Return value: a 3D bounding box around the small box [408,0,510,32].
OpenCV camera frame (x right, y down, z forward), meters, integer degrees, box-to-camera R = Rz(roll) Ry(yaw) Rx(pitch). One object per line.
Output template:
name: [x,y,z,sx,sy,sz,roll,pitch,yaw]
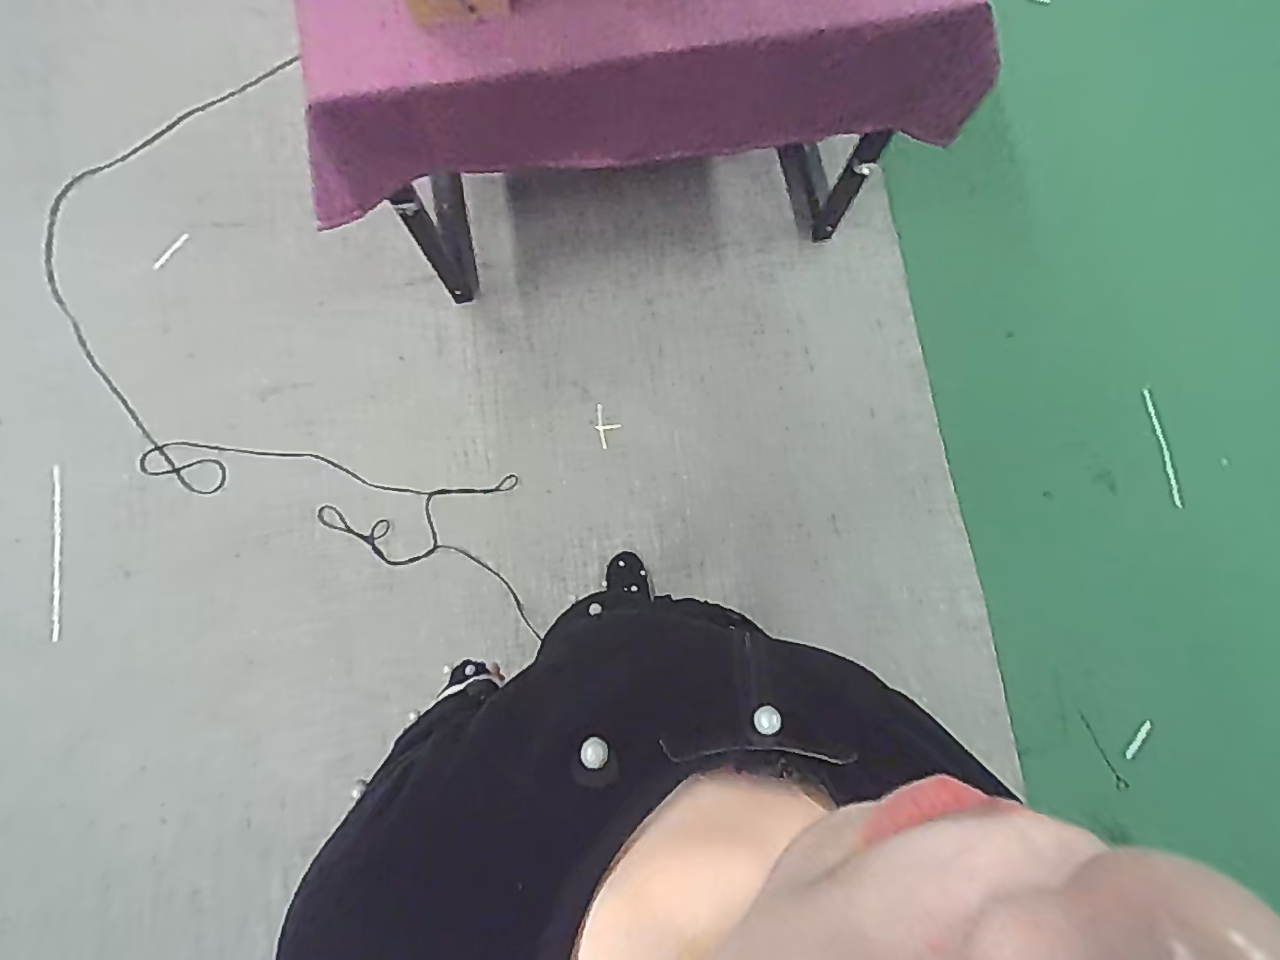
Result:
small box: [-0.316,-0.880,0.872,0.168,0.176,0.179,-10,80,-2]
